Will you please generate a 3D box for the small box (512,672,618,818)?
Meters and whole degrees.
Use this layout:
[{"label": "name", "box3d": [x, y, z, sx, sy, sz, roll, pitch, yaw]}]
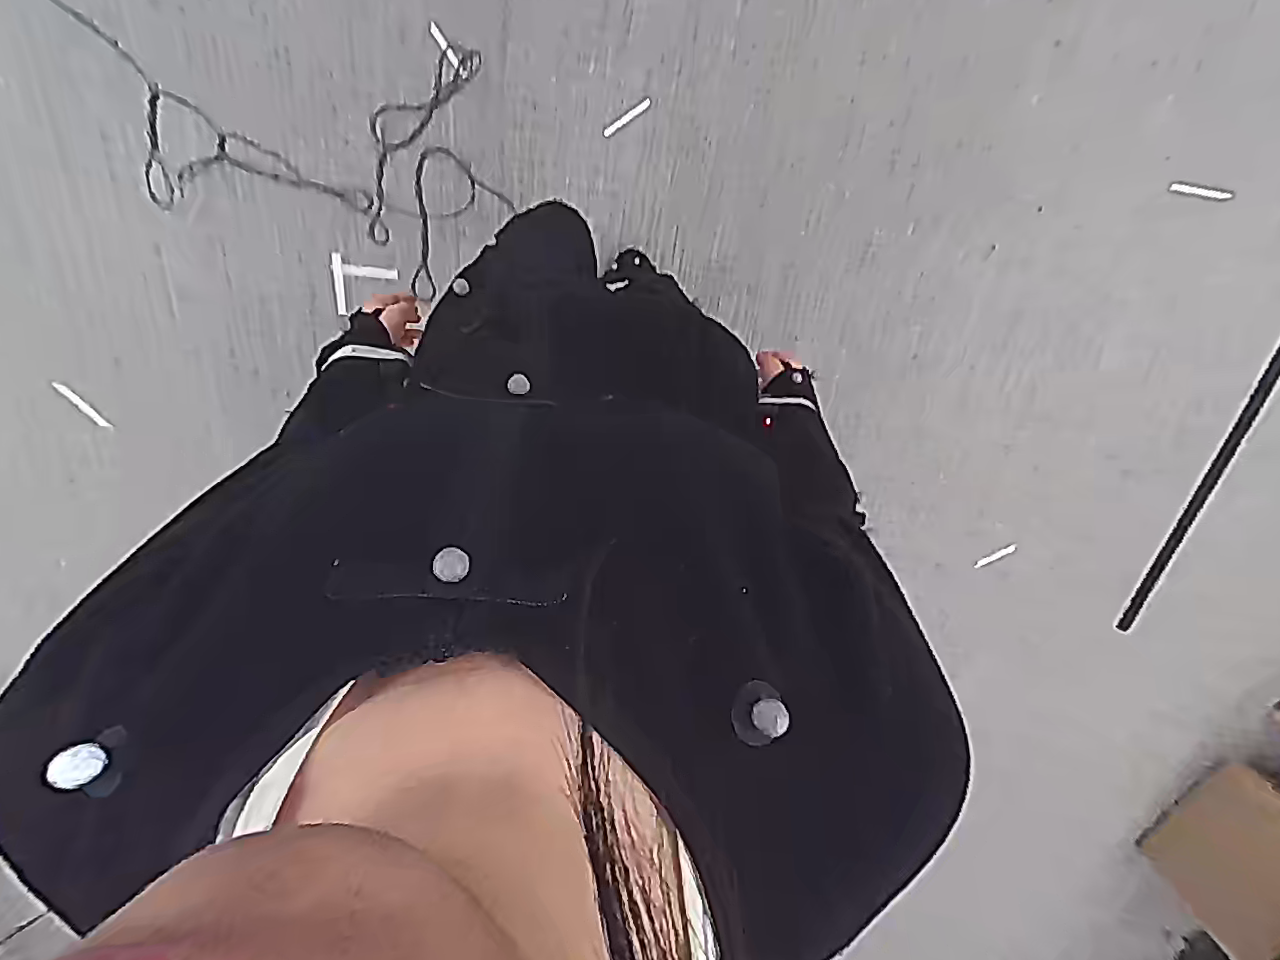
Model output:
[{"label": "small box", "box3d": [-0.134, 0.488, 1.013, 0.168, 0.176, 0.179, 9, 111, -3]}]
